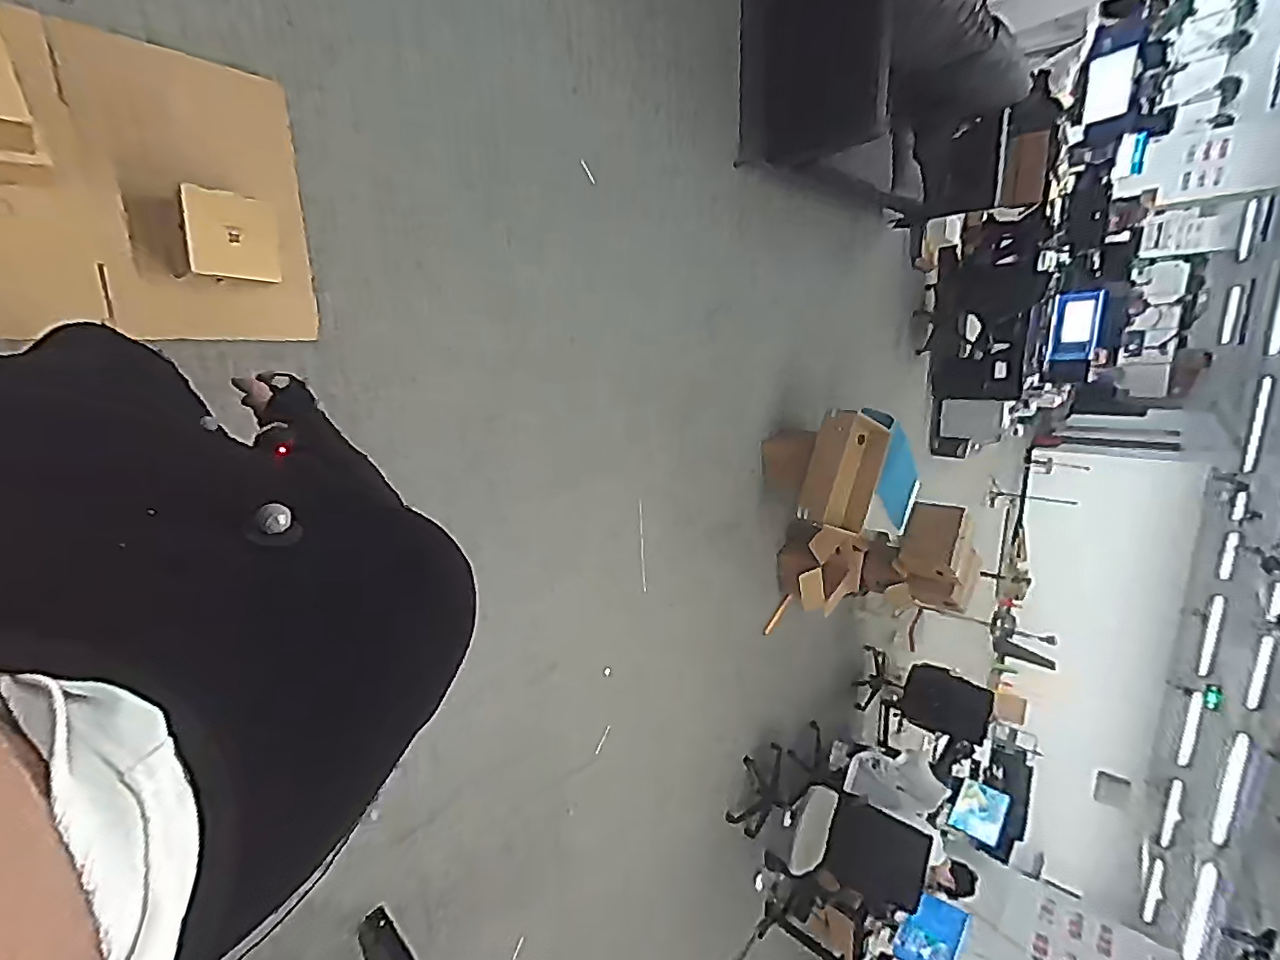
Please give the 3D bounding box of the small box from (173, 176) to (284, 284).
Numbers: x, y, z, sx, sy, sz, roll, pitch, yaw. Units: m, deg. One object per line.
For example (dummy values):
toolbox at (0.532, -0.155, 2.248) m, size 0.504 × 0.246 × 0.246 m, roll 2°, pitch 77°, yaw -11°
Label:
small box at (-0.918, -0.545, 1.207) m, size 0.168 × 0.176 × 0.179 m, roll -10°, pitch 104°, yaw -46°

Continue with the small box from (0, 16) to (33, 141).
small box at (-1.050, -0.631, 0.803) m, size 0.168 × 0.176 × 0.179 m, roll -22°, pitch 113°, yaw -44°

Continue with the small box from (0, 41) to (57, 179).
small box at (-1.157, -0.642, 0.931) m, size 0.168 × 0.176 × 0.179 m, roll -23°, pitch 114°, yaw -43°
